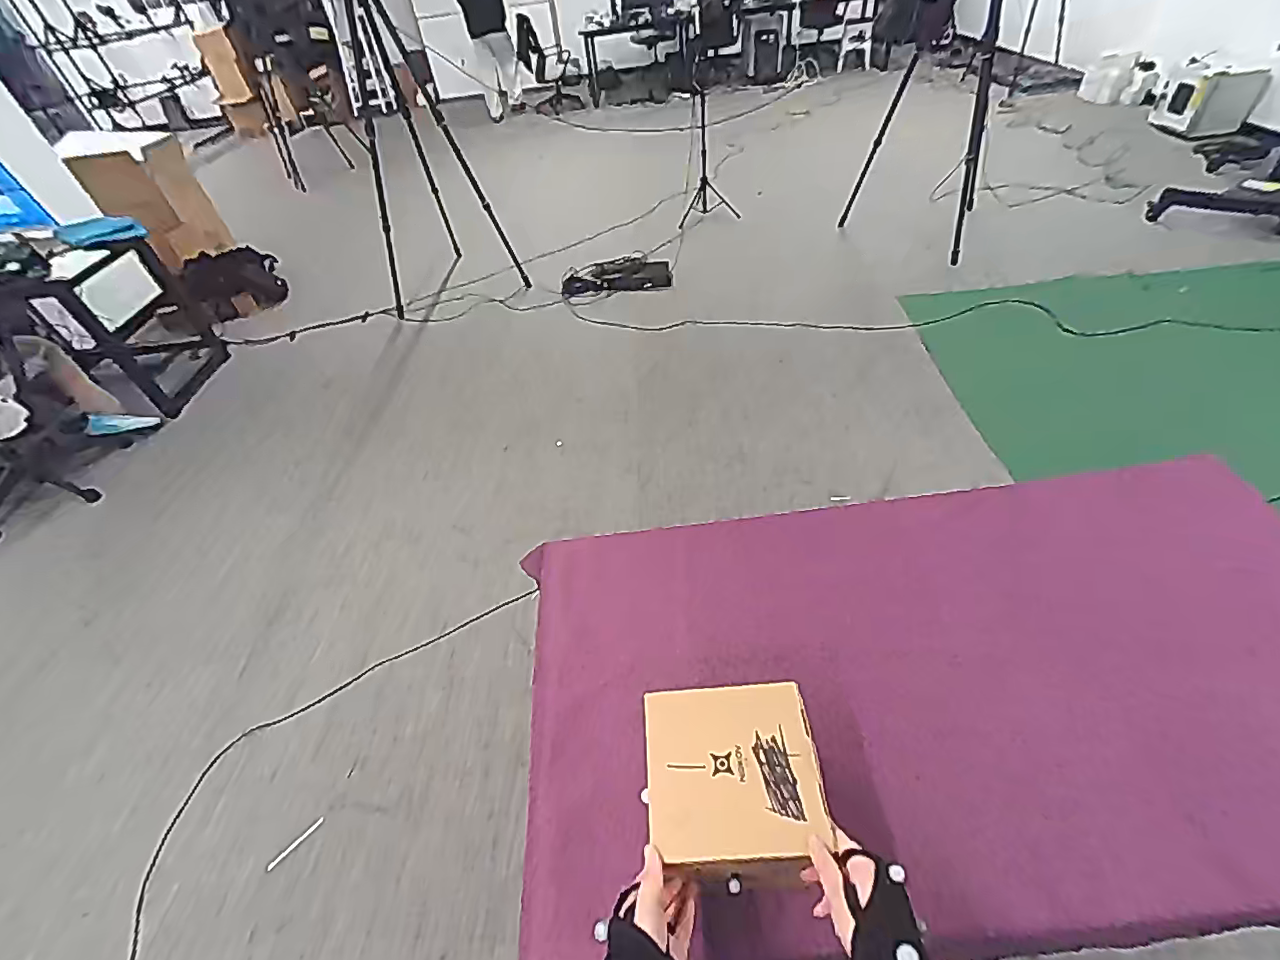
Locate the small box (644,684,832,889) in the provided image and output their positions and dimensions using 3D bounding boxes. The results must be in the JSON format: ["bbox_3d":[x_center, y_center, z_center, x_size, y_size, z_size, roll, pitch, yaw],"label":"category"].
[{"bbox_3d":[0.100,0.352,0.618,0.179,0.176,0.168,-6,45,4],"label":"small box"}]
